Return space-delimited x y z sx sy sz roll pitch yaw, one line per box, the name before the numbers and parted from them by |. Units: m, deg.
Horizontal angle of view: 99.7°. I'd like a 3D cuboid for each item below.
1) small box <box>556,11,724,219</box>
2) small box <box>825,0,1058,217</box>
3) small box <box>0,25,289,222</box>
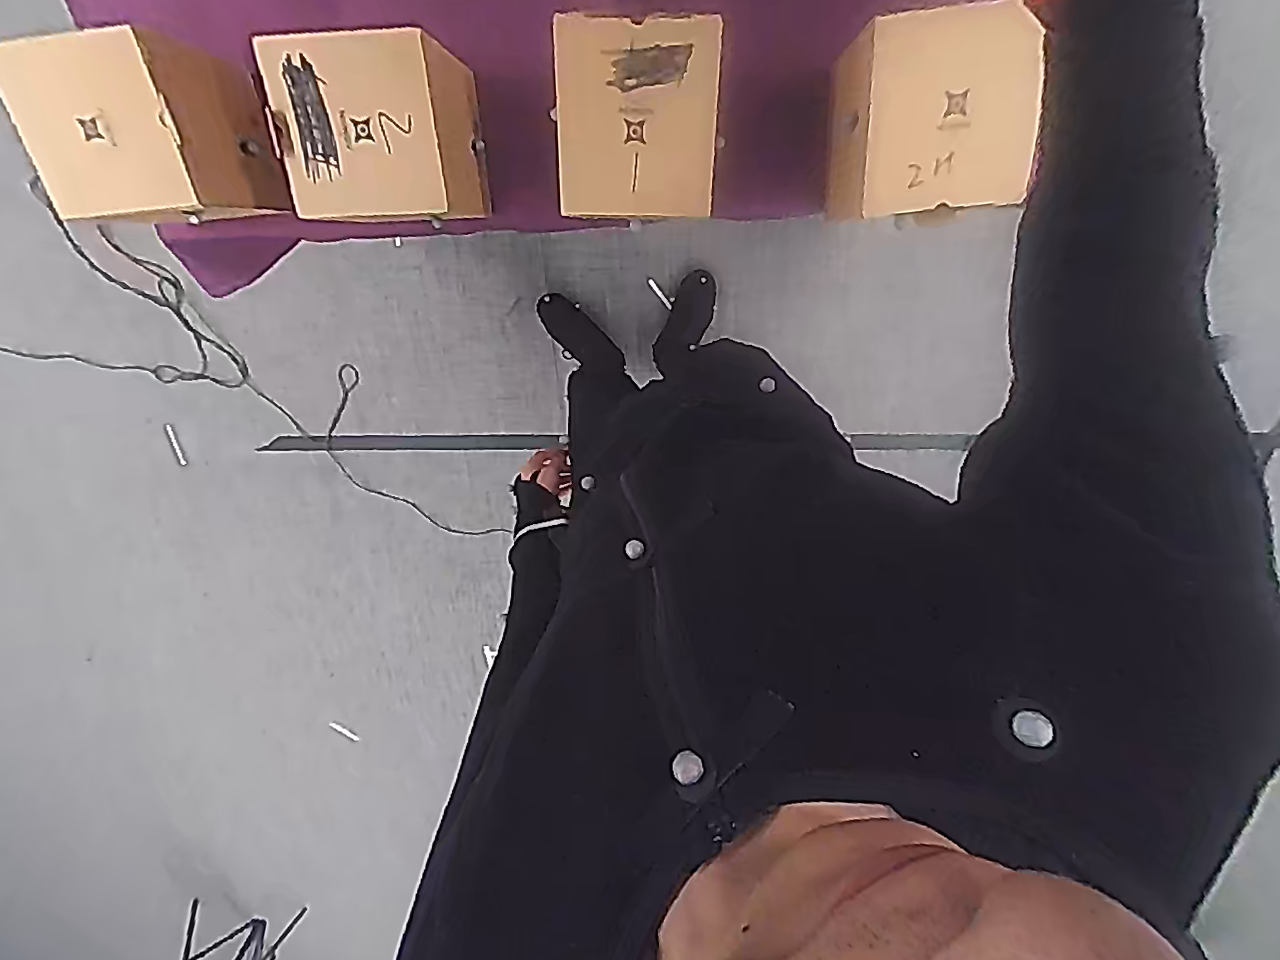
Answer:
small box | 0.000 -0.401 0.624 0.168 0.176 0.179 2 116 3
small box | 0.313 -0.399 0.606 0.168 0.176 0.179 -3 115 6
small box | -0.580 -0.410 0.654 0.179 0.176 0.168 -4 115 4
